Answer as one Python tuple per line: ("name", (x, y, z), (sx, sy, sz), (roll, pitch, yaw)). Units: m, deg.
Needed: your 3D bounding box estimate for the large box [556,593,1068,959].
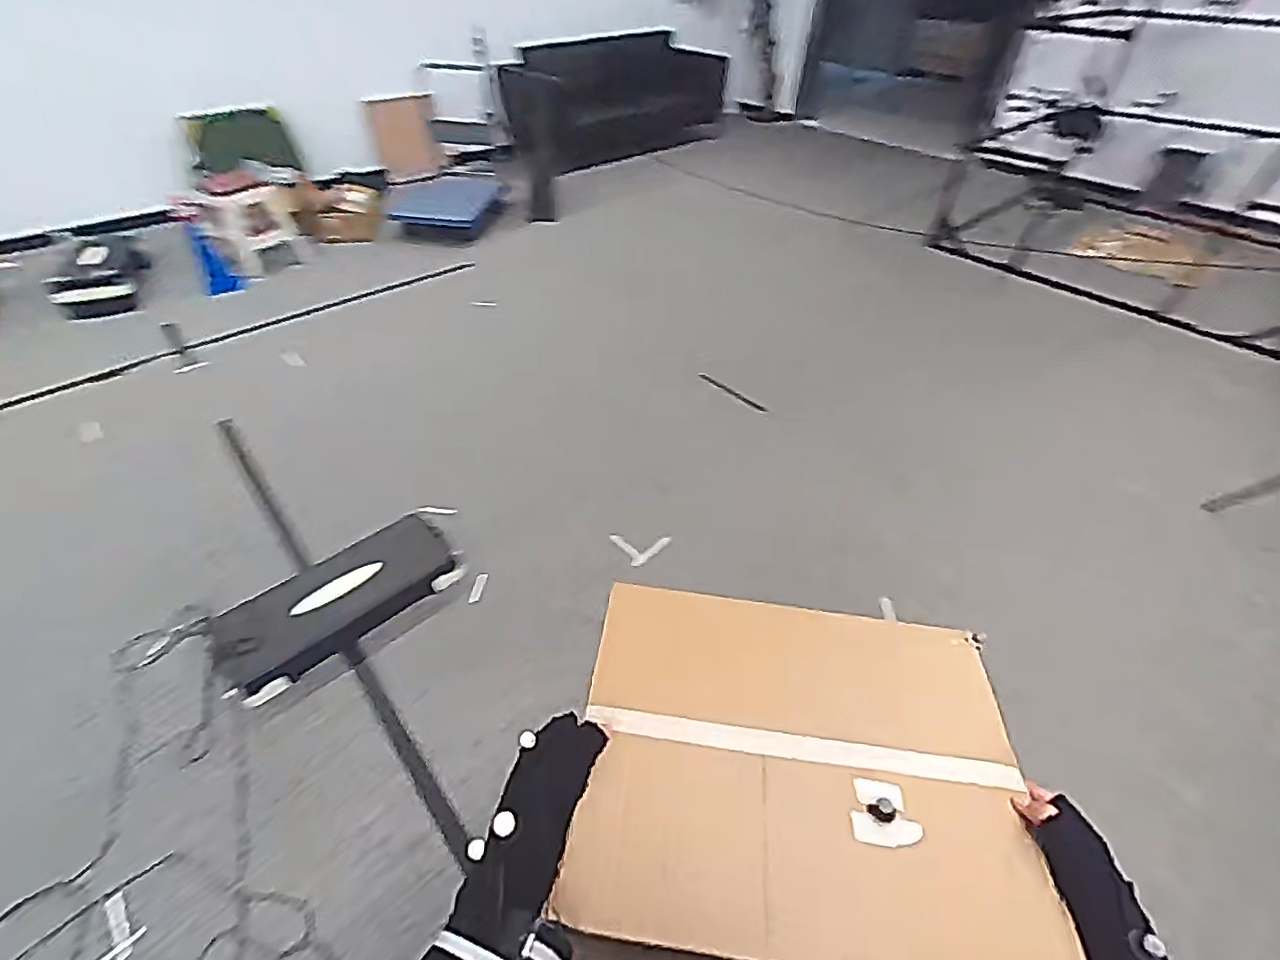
("large box", (0.136, 0.363, 0.621), (0.408, 0.320, 0.320), (6, 44, 3))
